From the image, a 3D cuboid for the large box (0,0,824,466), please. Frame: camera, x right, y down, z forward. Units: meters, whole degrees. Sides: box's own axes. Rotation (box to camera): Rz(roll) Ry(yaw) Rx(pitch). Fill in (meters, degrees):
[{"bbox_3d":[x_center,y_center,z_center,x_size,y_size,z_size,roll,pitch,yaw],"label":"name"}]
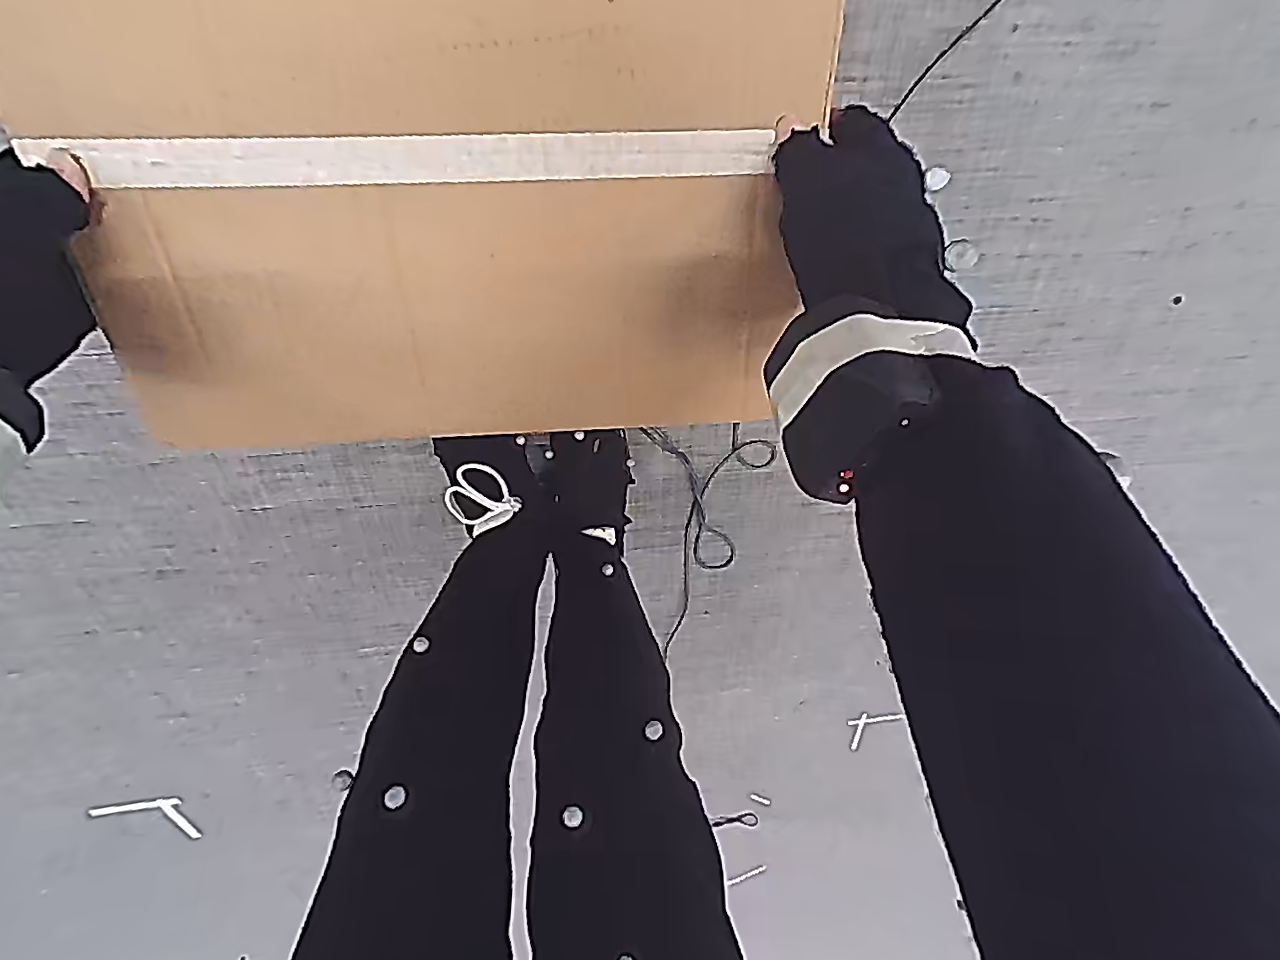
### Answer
[{"bbox_3d":[-0.115,-0.229,0.423,0.408,0.320,0.320,-4,118,-4],"label":"large box"}]
